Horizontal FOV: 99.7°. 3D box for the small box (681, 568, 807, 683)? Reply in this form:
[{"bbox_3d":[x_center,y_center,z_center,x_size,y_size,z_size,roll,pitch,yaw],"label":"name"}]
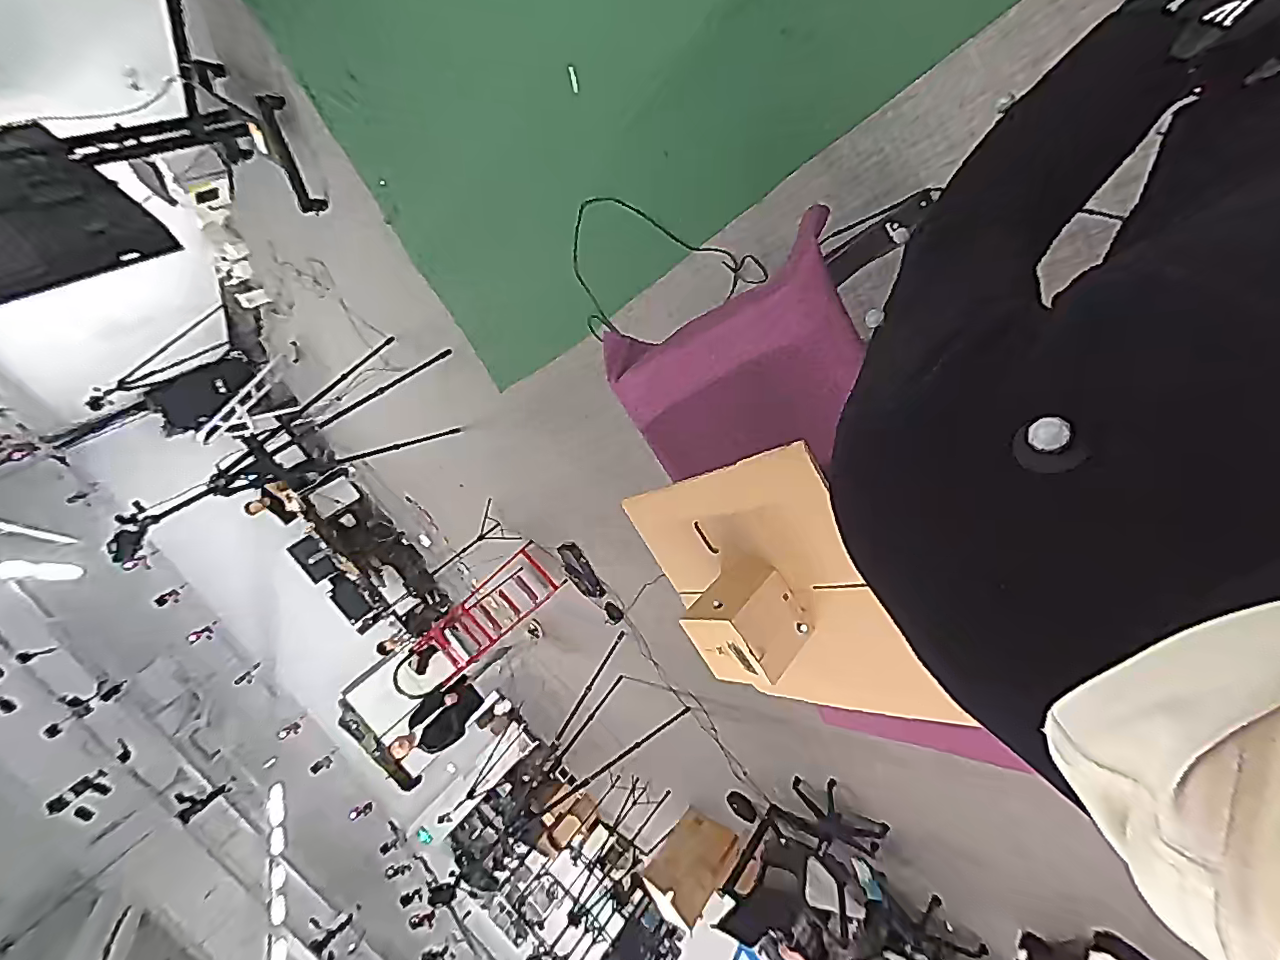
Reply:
[{"bbox_3d":[0.227,0.301,1.144,0.168,0.176,0.179,57,147,-8],"label":"small box"}]
